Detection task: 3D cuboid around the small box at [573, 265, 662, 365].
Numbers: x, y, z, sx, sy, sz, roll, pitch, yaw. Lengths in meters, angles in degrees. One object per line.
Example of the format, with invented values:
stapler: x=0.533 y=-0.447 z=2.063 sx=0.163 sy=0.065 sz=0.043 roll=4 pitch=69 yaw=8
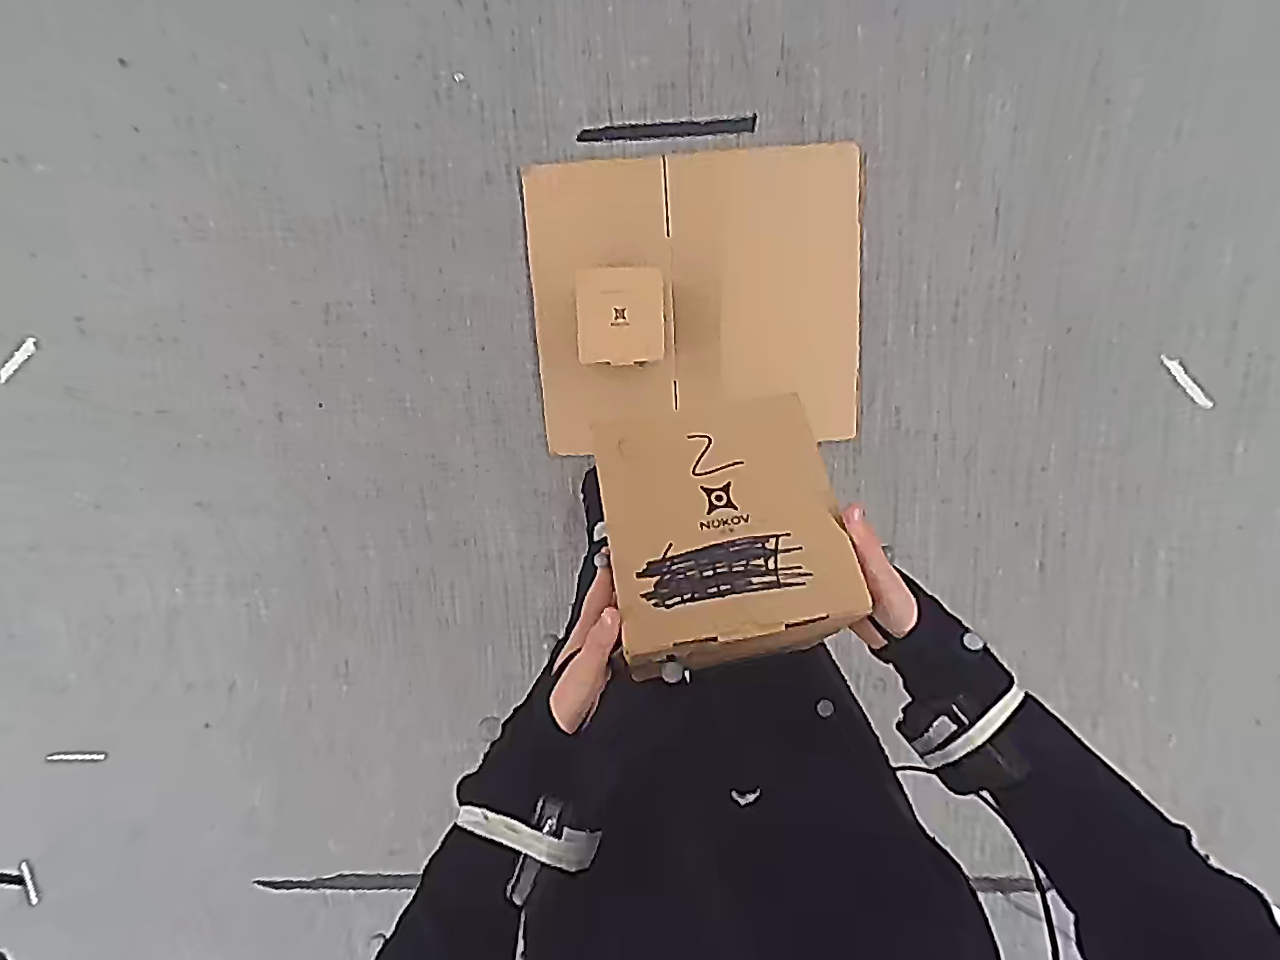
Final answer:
small box: x=-0.040 y=-0.325 z=1.089 sx=0.168 sy=0.176 sz=0.179 roll=-3 pitch=101 yaw=0
